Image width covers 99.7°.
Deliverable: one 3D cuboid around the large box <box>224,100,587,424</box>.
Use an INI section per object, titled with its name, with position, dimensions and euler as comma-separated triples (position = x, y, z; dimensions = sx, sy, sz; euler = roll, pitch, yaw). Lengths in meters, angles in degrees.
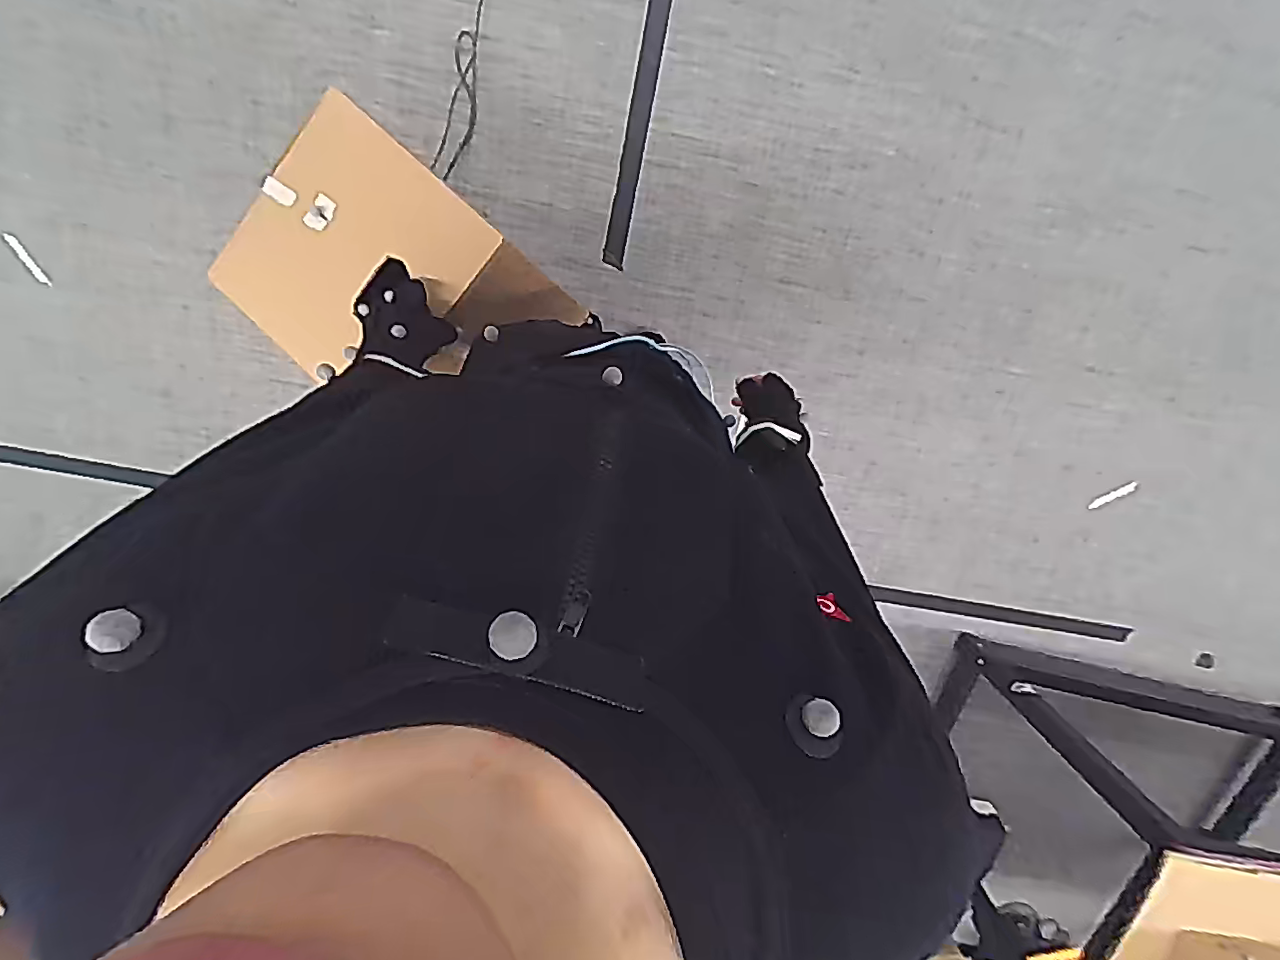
[large box]
position = -0.348, -0.309, 0.907
dimensions = 0.320, 0.408, 0.320
euler = 44, 100, 4
